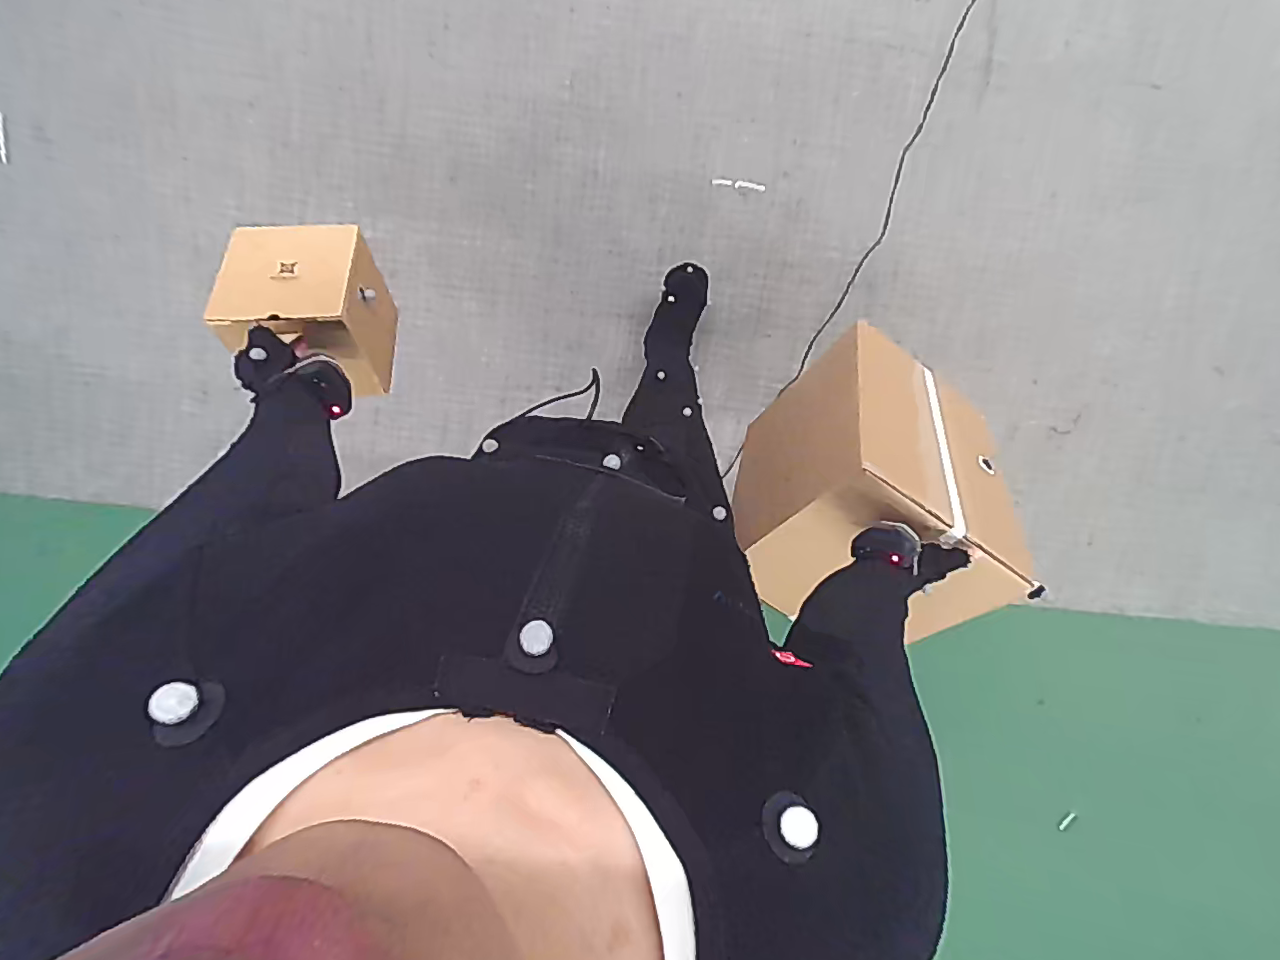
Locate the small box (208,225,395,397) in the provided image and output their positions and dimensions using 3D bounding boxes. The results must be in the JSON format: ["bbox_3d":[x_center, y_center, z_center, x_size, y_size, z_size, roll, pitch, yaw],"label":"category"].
[{"bbox_3d":[-0.473,-0.243,0.791,0.168,0.176,0.179,-5,64,-6],"label":"small box"}]
